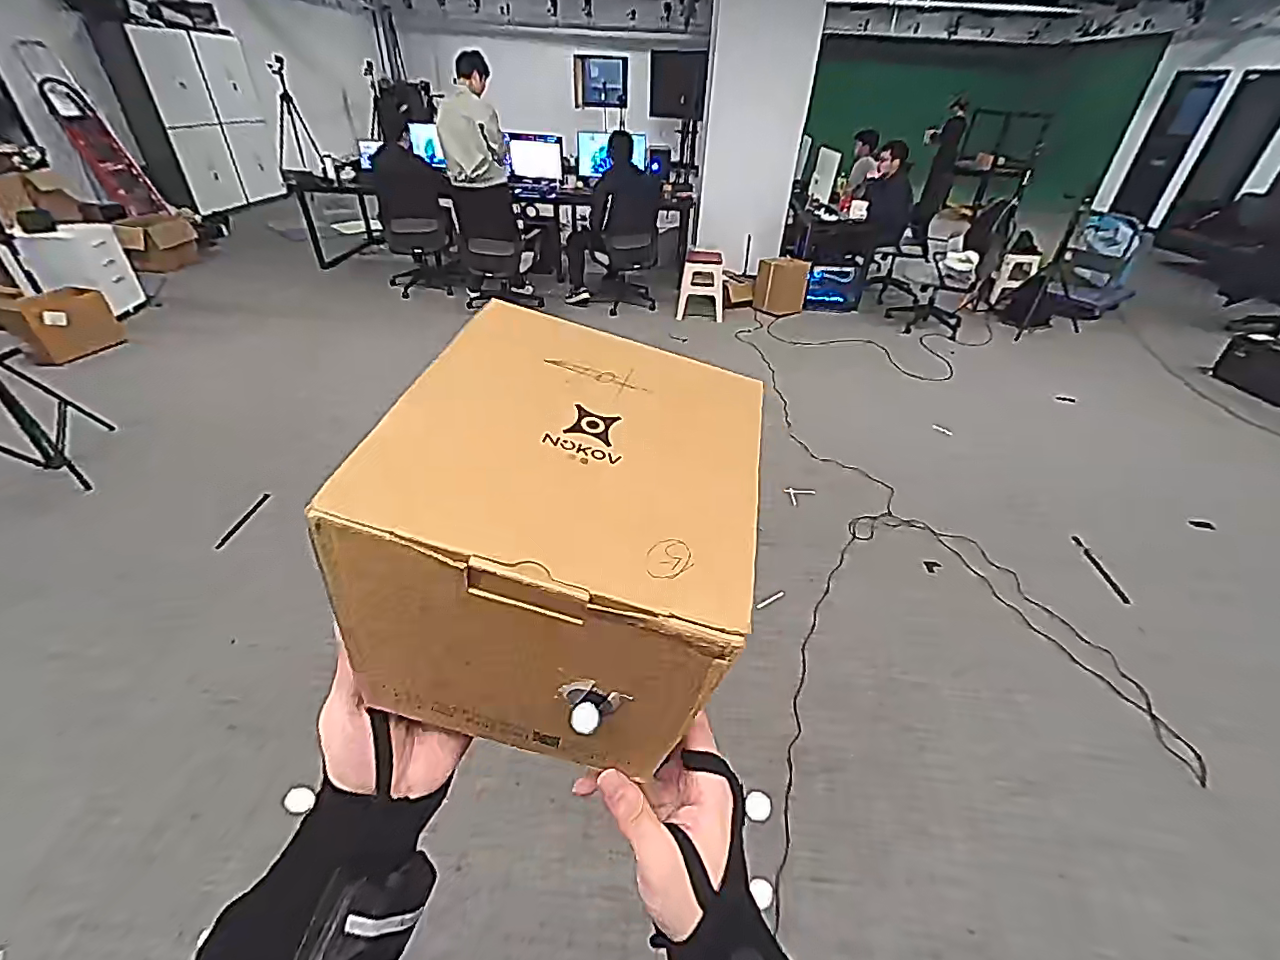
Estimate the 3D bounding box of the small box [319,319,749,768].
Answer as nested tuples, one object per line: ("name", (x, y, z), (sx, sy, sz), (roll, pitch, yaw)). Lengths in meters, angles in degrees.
("small box", (-0.045, 0.039, 0.317), (0.168, 0.176, 0.179), (17, 43, -3))
